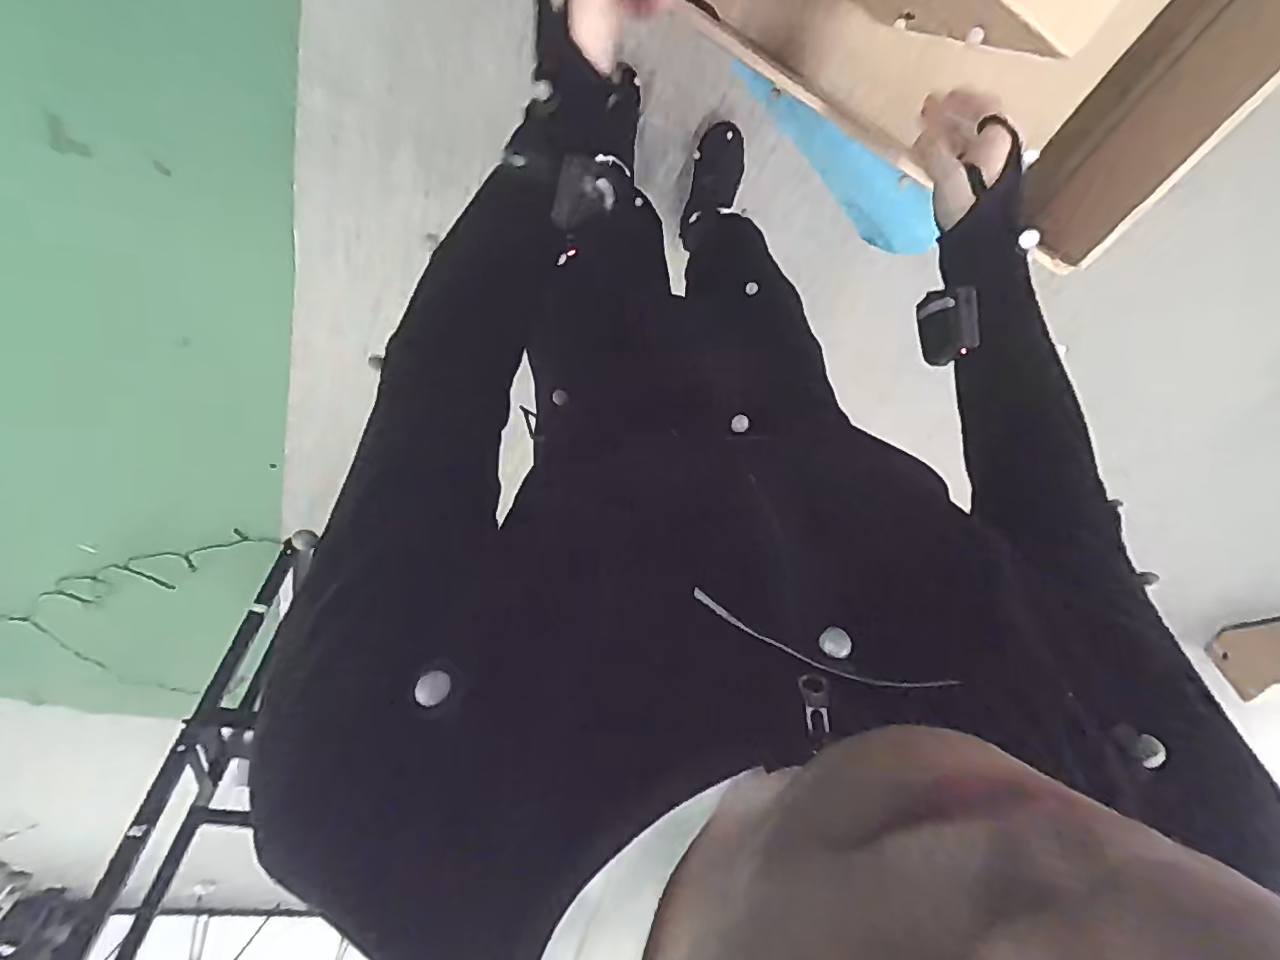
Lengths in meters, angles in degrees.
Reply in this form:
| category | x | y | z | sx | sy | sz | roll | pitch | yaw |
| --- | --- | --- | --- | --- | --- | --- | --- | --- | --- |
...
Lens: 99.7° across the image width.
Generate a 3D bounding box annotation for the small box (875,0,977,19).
| category | x | y | z | sx | sy | sz | roll | pitch | yaw |
| --- | --- | --- | --- | --- | --- | --- | --- | --- | --- |
| small box | 0.239 | -0.541 | 0.463 | 0.179 | 0.176 | 0.168 | 16 | 131 | -20 |
